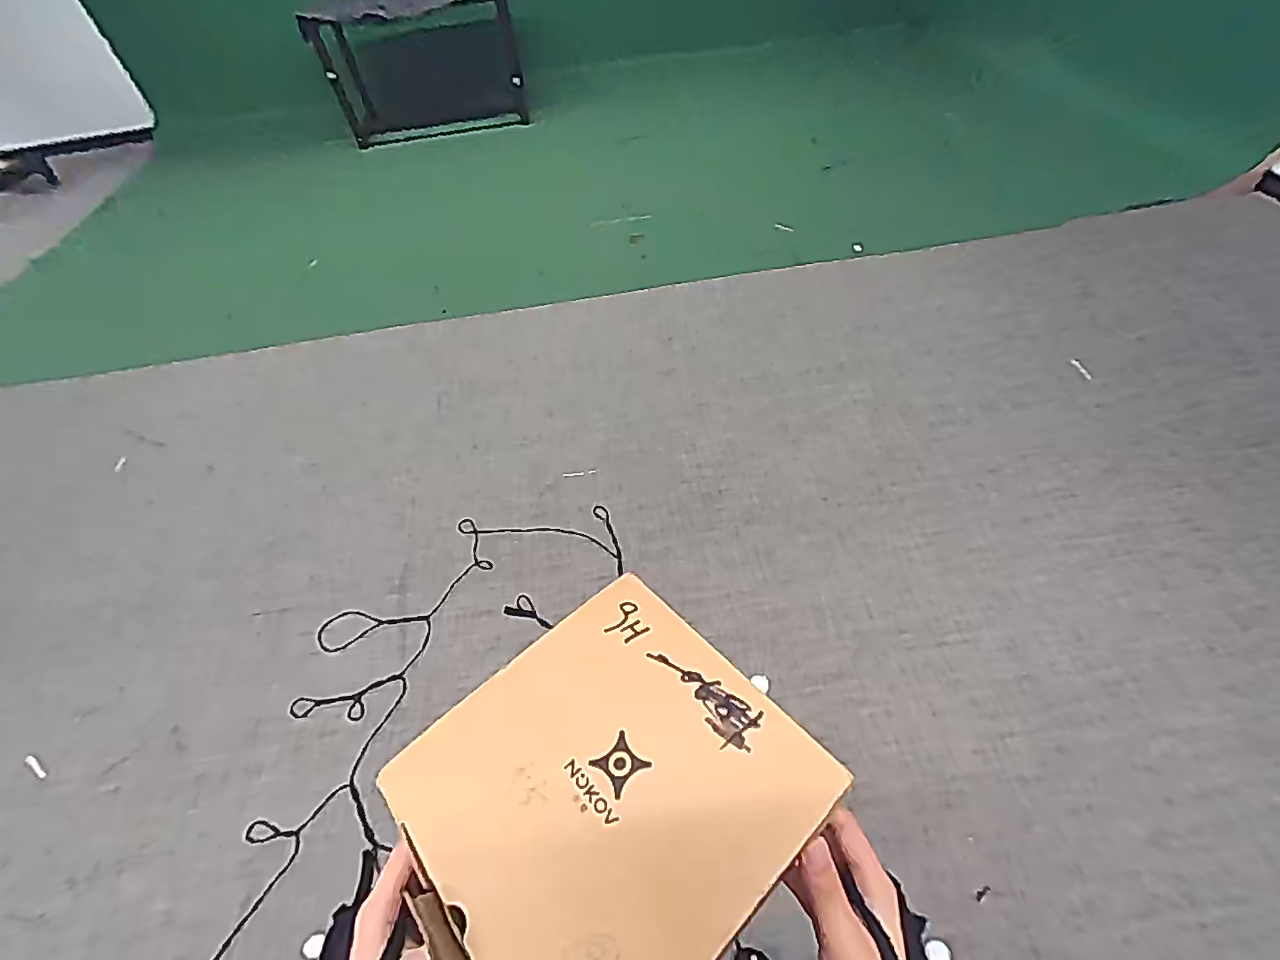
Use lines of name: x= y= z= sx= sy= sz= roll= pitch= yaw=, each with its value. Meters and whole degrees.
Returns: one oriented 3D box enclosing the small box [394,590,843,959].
small box: x=-0.007 y=0.211 z=0.331 sx=0.179 sy=0.176 sz=0.168 roll=-36 pitch=53 yaw=-24
